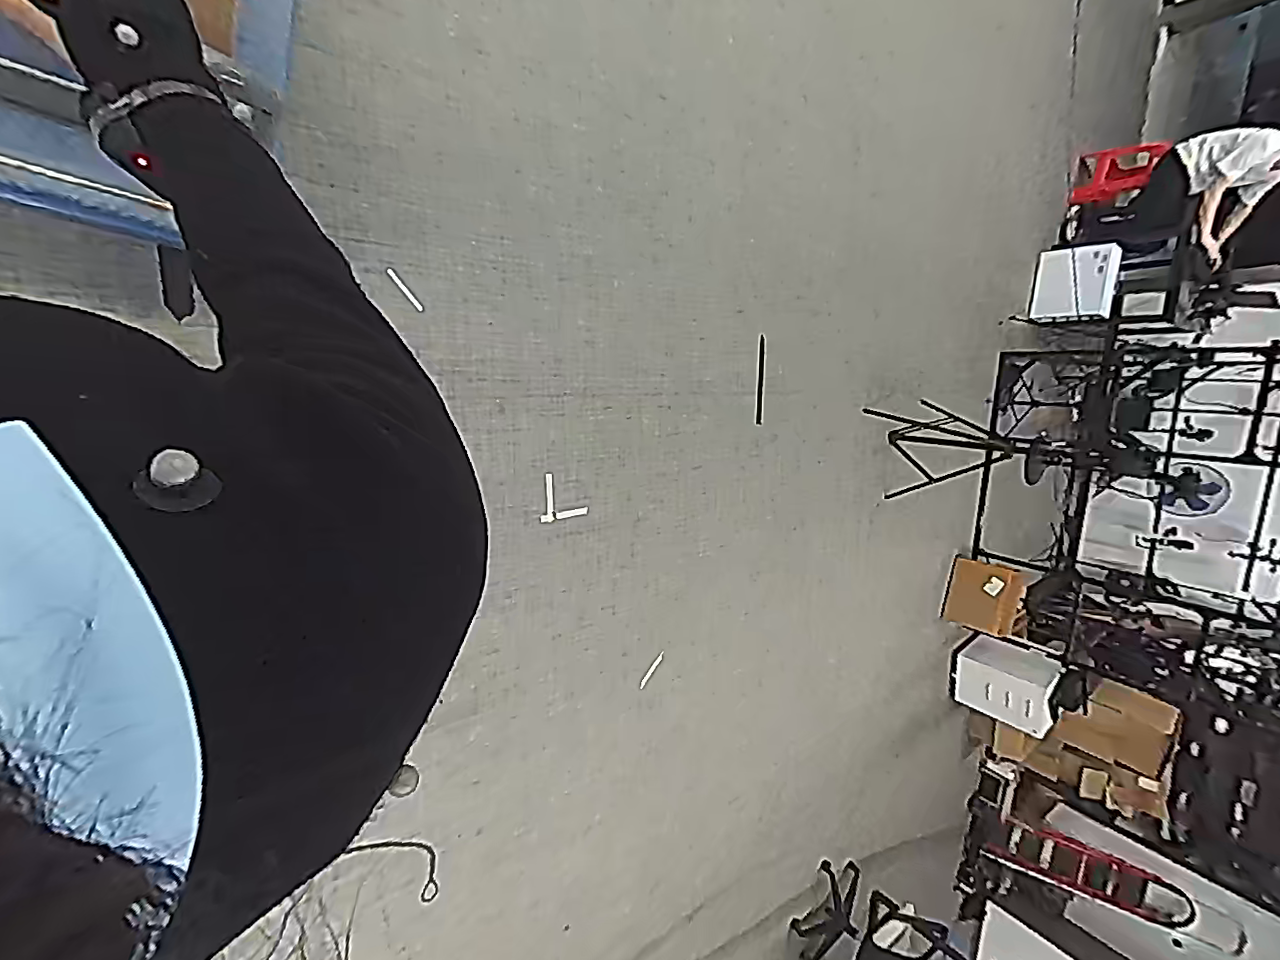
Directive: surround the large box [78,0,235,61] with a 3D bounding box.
[{"bbox_3d":[-0.787,-0.884,0.726,0.408,0.320,0.320,6,95,-38],"label":"large box"}]
